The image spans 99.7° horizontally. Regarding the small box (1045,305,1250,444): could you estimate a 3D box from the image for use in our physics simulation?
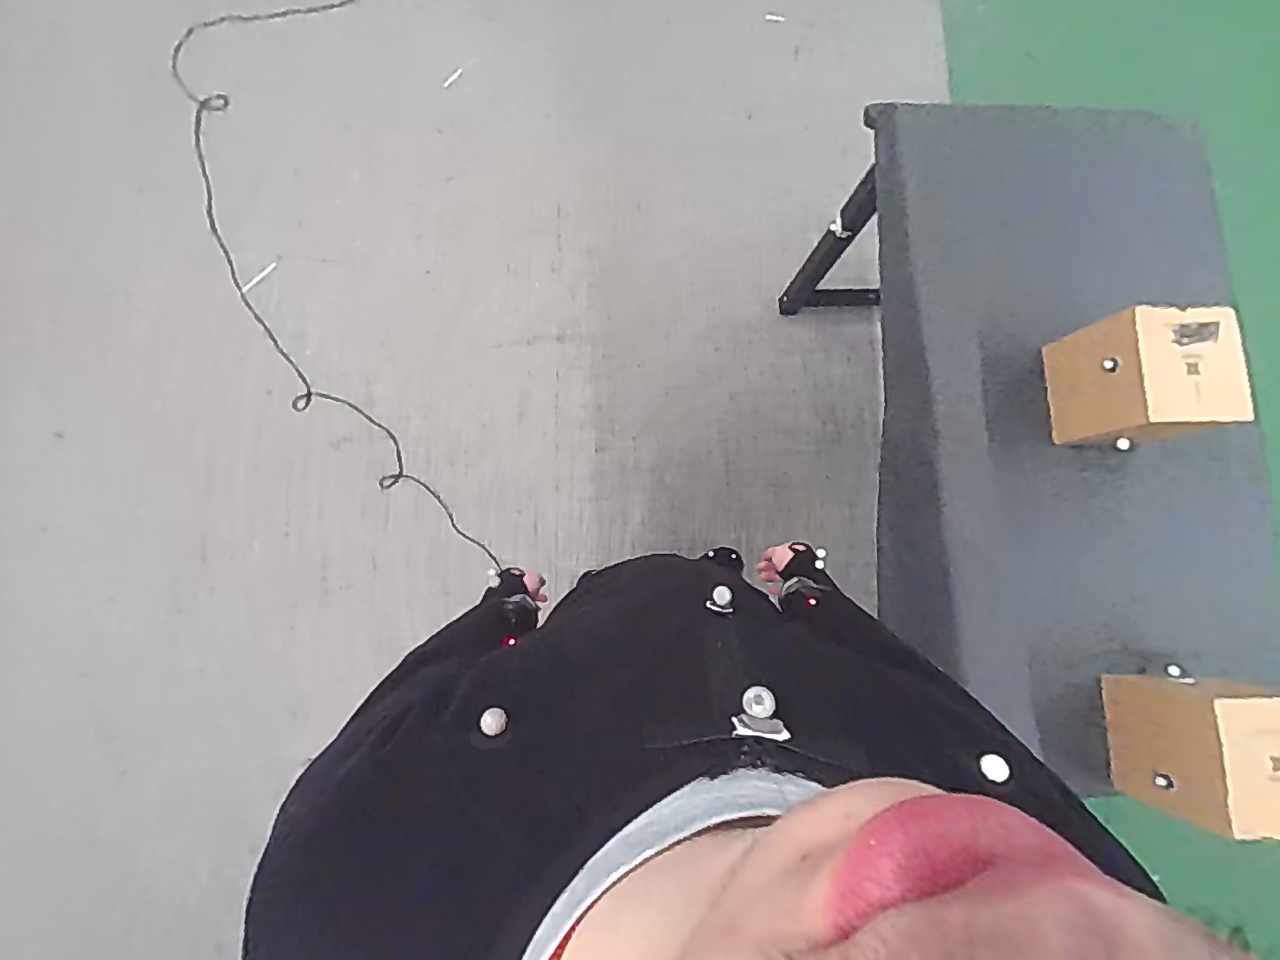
[{"bbox_3d":[0.787,-0.159,0.859,0.168,0.176,0.179,-1,84,-4],"label":"small box"}]

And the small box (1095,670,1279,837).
[{"bbox_3d":[0.821,0.387,0.791,0.168,0.176,0.179,1,81,-5],"label":"small box"}]
